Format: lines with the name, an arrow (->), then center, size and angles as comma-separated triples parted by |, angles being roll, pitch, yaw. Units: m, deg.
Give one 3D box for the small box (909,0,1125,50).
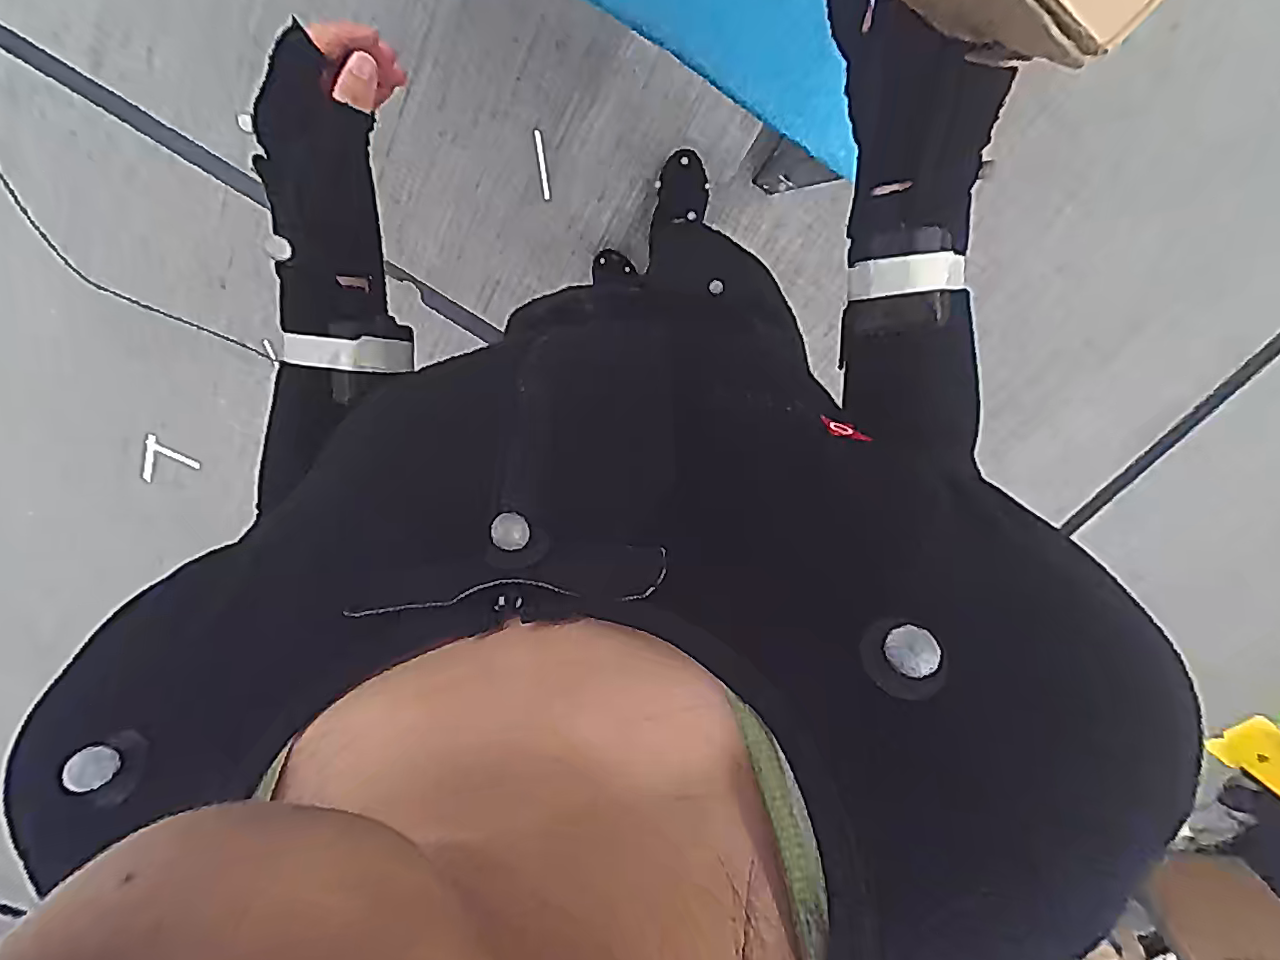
small box -> 0.147, -0.303, 0.189 | 0.179, 0.168, 0.176 | 26, 128, -19
